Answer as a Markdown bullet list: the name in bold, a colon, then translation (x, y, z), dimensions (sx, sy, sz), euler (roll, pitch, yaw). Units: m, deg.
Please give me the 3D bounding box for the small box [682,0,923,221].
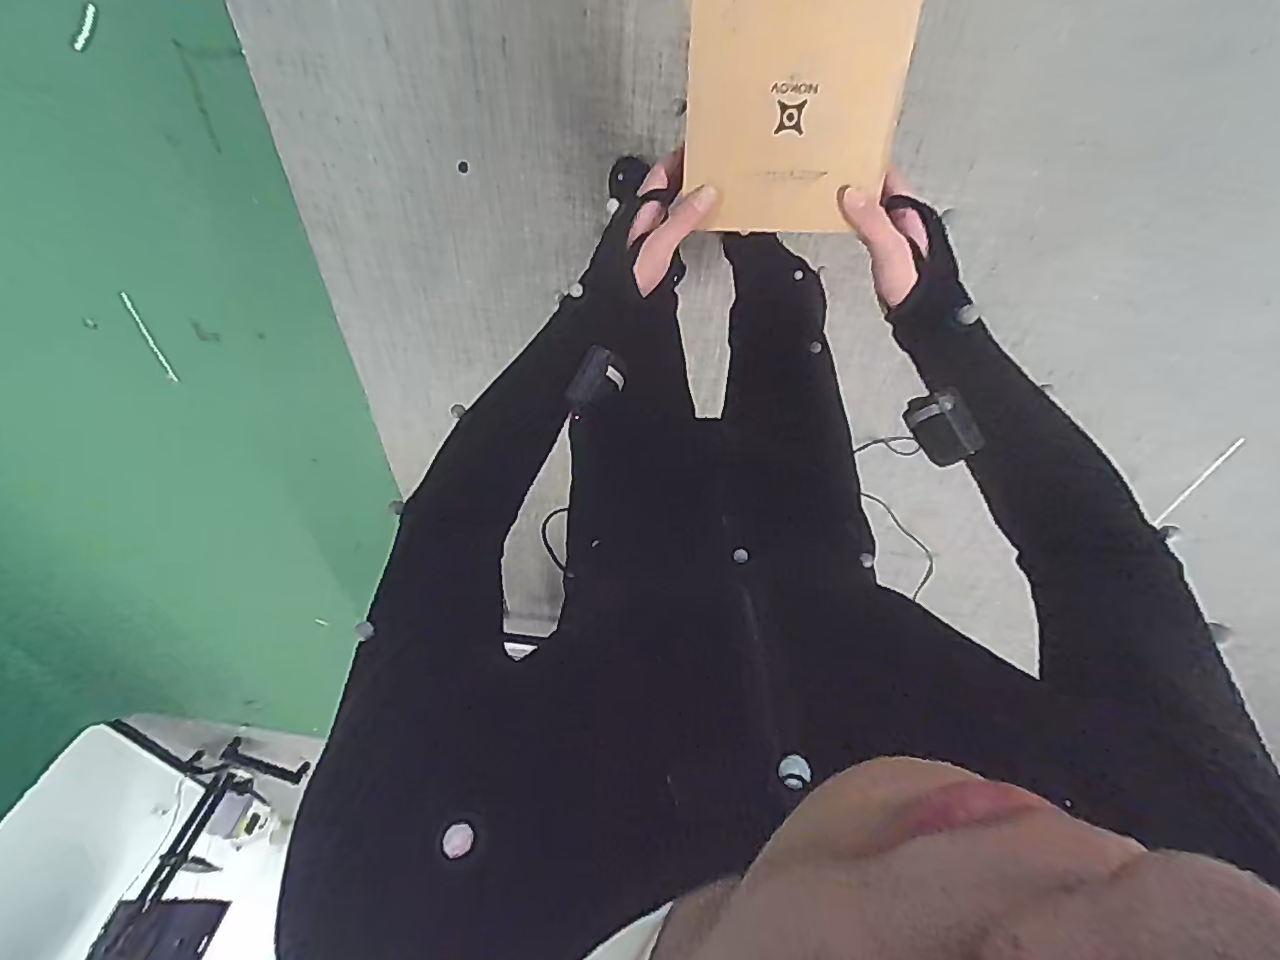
- **small box**: translation (0.125, -0.337, 0.484), dimensions (0.168, 0.176, 0.179), euler (3, 121, 4)
